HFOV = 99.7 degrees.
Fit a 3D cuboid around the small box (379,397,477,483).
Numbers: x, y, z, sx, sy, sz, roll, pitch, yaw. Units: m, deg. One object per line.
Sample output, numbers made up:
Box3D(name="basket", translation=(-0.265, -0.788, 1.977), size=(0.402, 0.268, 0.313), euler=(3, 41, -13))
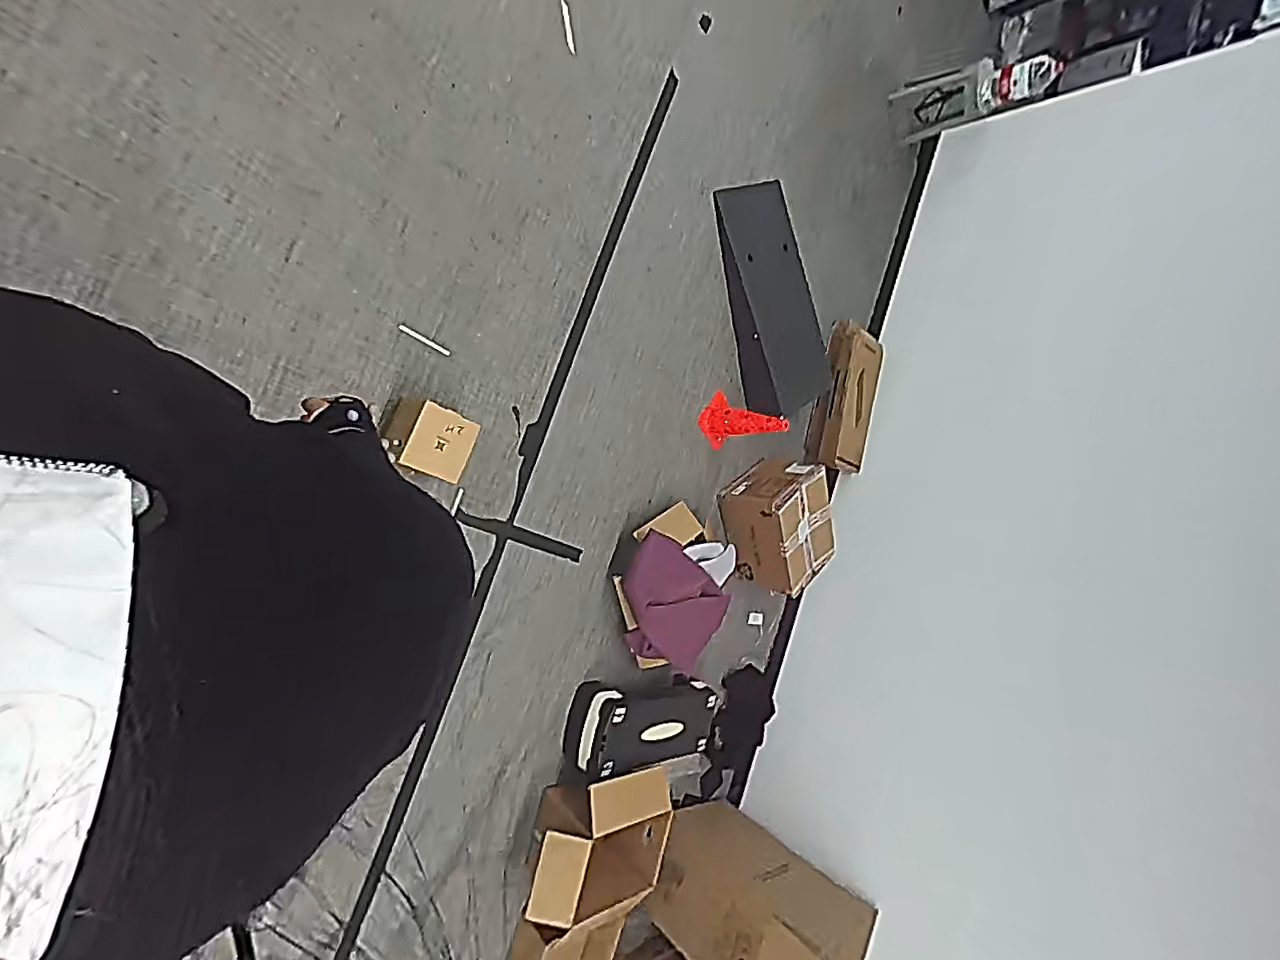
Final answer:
Box3D(name="small box", translation=(-0.576, -0.109, 1.454), size=(0.168, 0.176, 0.179), euler=(29, 77, -43))
